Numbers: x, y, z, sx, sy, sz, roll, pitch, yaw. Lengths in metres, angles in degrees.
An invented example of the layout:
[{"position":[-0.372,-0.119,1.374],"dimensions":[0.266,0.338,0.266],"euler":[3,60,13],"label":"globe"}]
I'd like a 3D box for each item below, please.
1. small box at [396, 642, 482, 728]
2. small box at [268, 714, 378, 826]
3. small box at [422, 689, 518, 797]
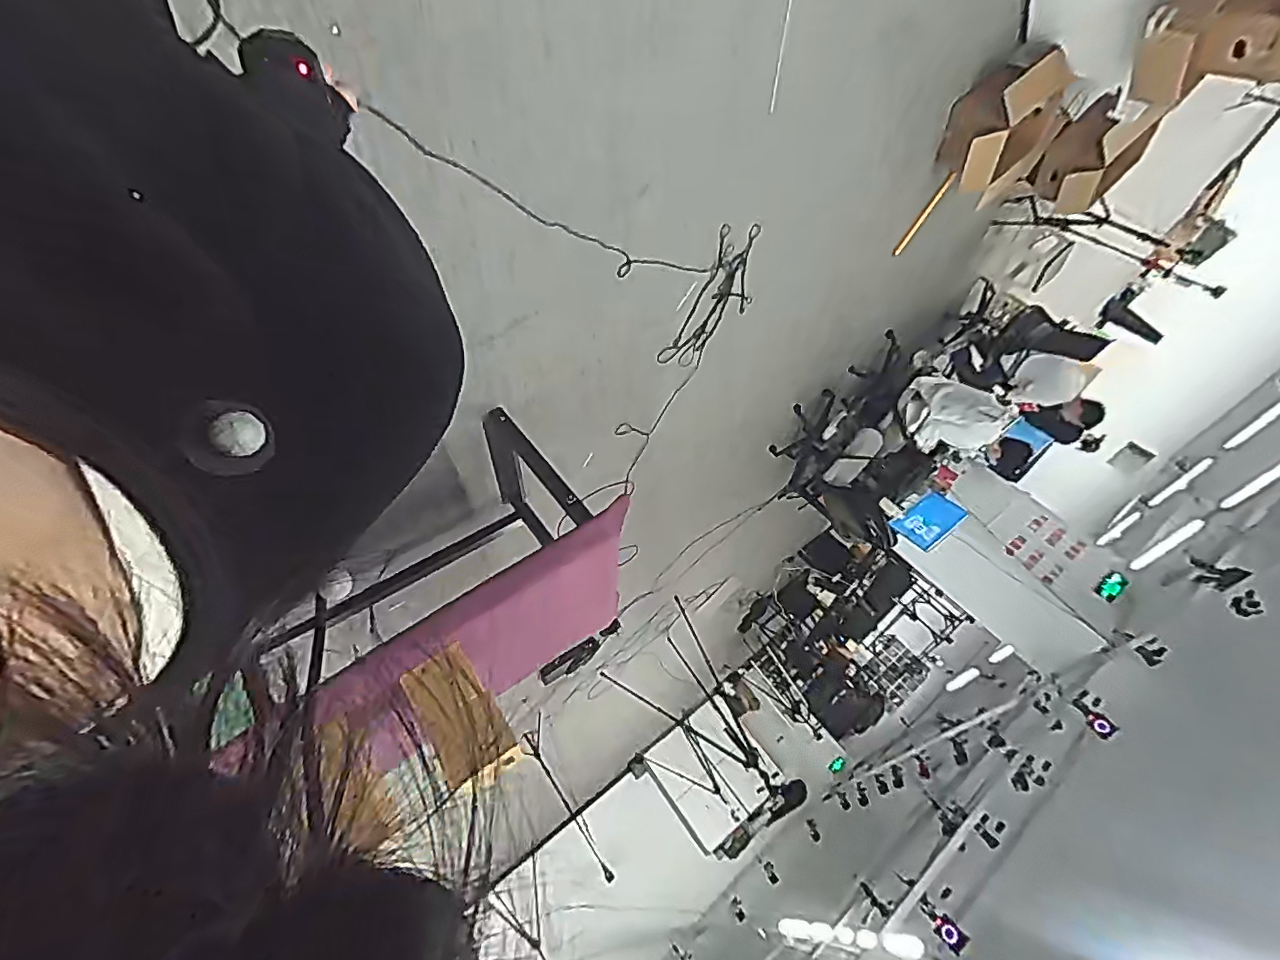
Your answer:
[{"position":[-0.542,0.574,1.483],"dimensions":[0.168,0.176,0.179],"euler":[-31,151,-23],"label":"small box"},{"position":[-0.788,0.716,1.347],"dimensions":[0.168,0.176,0.179],"euler":[-29,150,-26],"label":"small box"},{"position":[-0.440,0.679,1.408],"dimensions":[0.179,0.176,0.168],"euler":[-28,150,-26],"label":"small box"}]
